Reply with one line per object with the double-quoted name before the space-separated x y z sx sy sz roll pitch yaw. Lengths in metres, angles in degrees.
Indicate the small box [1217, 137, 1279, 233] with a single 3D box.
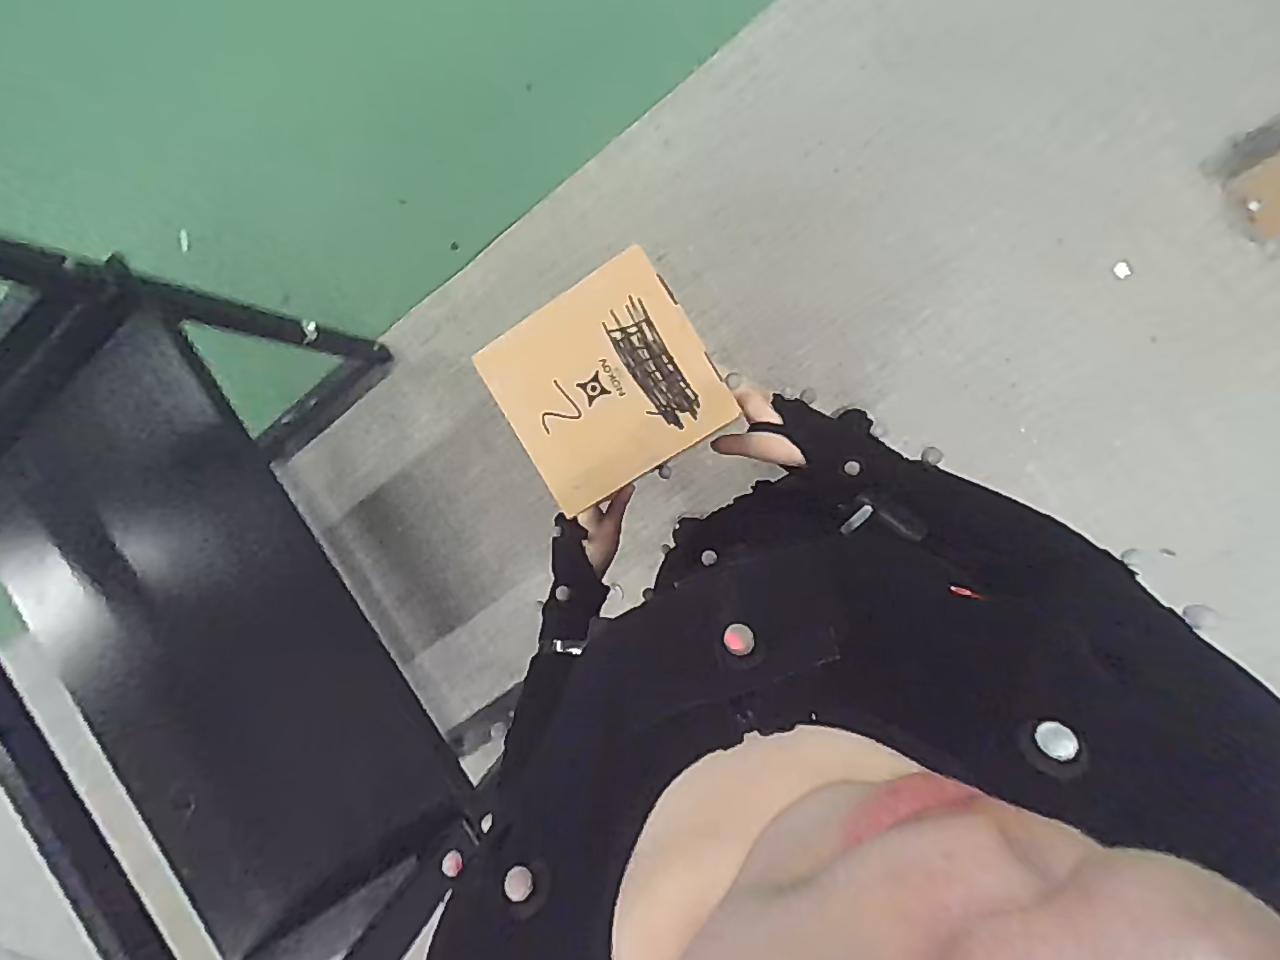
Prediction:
"small box" 1.412 -0.663 1.142 0.179 0.176 0.168 -28 88 12
